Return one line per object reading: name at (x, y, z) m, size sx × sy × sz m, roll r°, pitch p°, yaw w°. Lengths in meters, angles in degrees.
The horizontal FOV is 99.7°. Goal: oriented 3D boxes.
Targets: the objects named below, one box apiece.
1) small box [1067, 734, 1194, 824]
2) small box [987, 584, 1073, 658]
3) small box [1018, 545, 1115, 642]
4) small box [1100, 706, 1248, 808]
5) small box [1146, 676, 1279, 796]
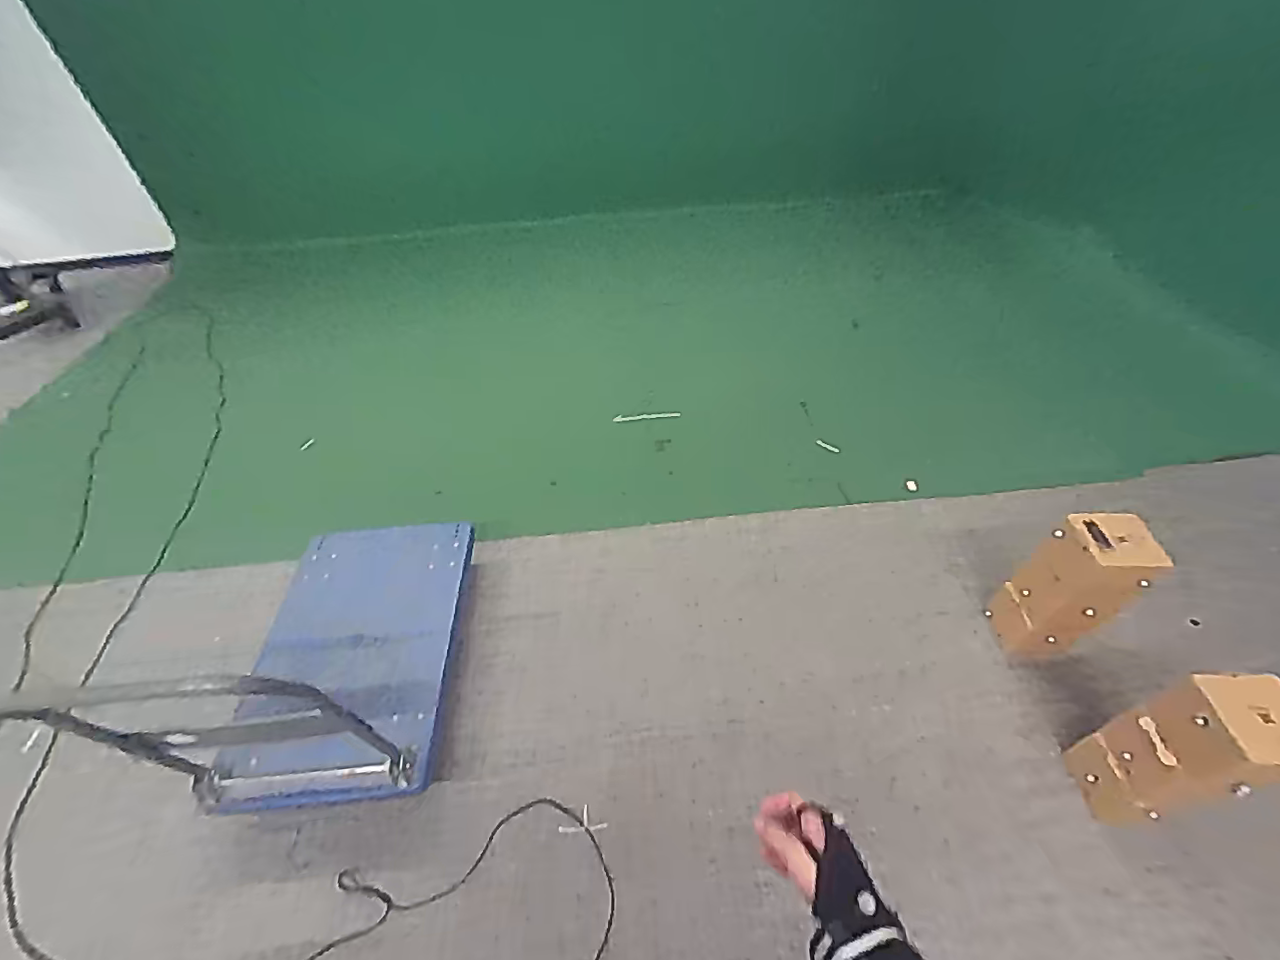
small box at (1.220, 0.748, 1.351) m, size 0.179 × 0.176 × 0.168 m, roll -3°, pitch 46°, yaw 2°
small box at (1.202, 0.434, 1.656) m, size 0.179 × 0.176 × 0.168 m, roll 0°, pitch 47°, yaw 2°
small box at (1.214, 0.325, 1.546) m, size 0.168 × 0.176 × 0.179 m, roll 22°, pitch 51°, yaw 26°
small box at (1.222, 0.633, 1.233) m, size 0.179 × 0.176 × 0.168 m, roll 0°, pitch 45°, yaw 4°
small box at (1.214, 0.525, 1.111) m, size 0.168 × 0.176 × 0.179 m, roll 0°, pitch 46°, yaw 4°
